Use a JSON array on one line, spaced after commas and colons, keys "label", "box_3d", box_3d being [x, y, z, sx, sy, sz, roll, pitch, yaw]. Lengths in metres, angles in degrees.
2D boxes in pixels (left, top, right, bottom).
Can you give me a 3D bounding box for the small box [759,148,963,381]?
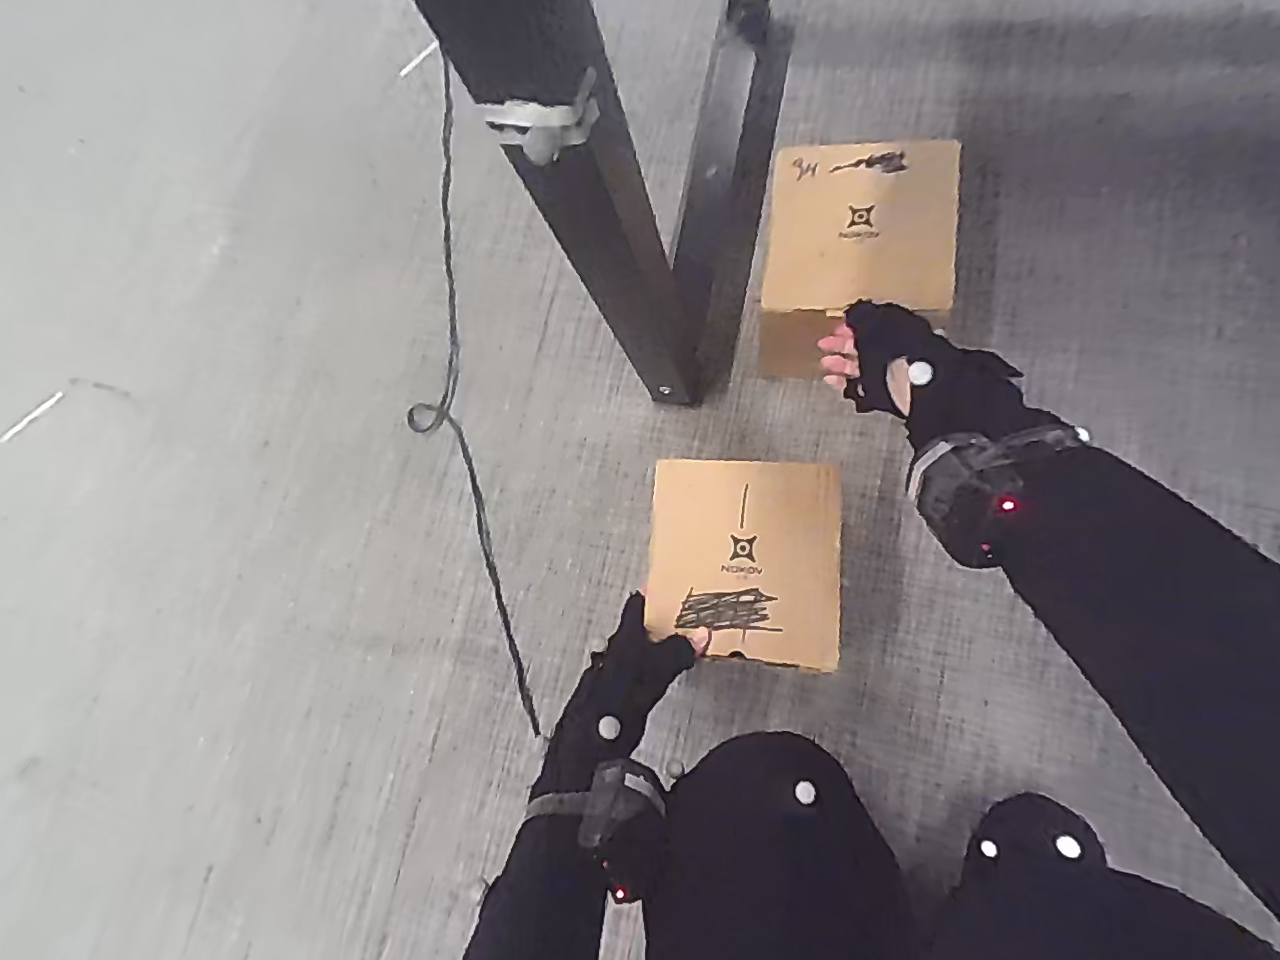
[{"label": "small box", "box_3d": [0.222, -0.218, 0.582, 0.168, 0.176, 0.179, 7, 82, 13]}]
